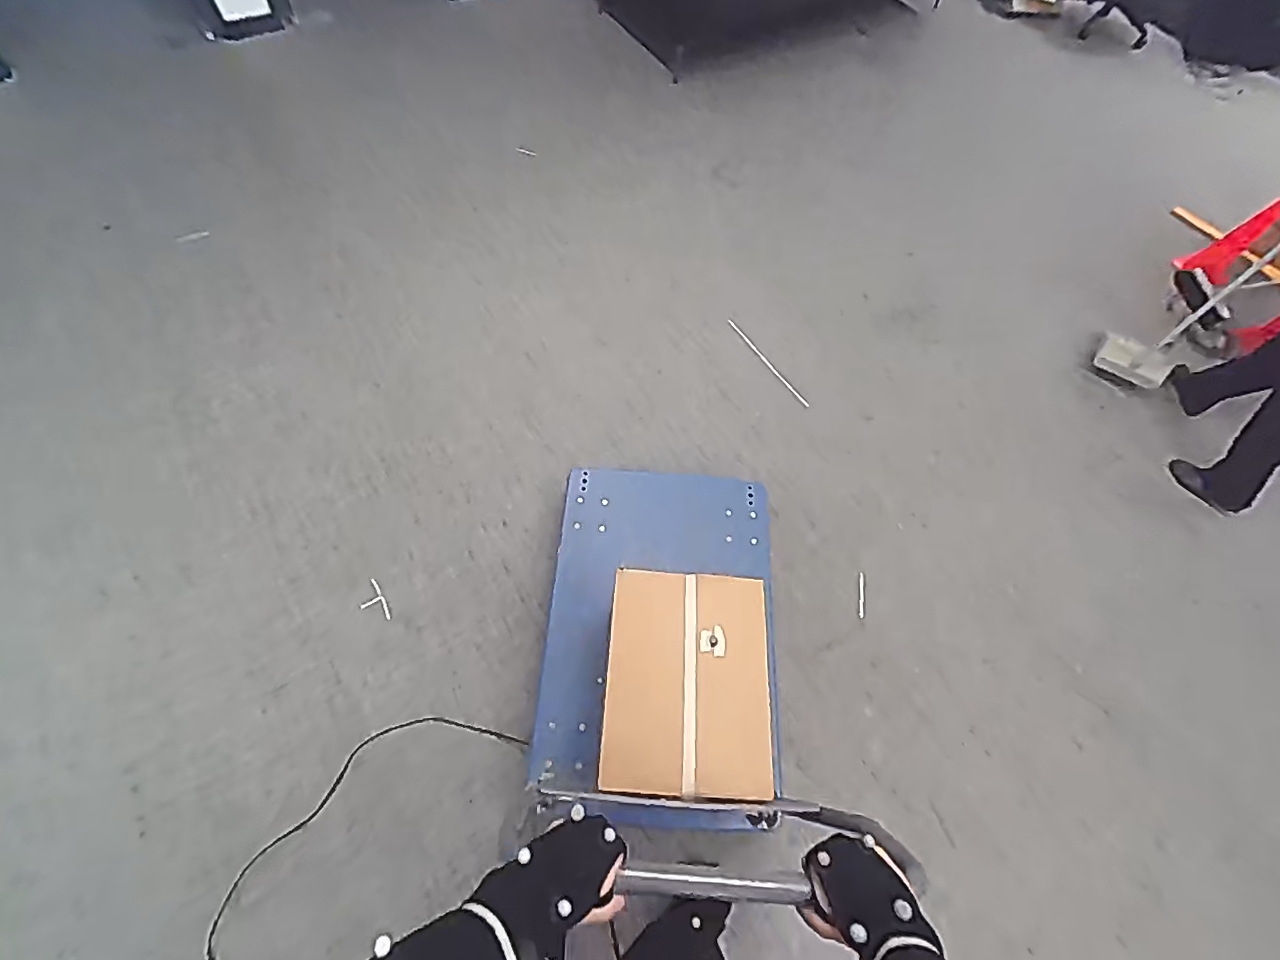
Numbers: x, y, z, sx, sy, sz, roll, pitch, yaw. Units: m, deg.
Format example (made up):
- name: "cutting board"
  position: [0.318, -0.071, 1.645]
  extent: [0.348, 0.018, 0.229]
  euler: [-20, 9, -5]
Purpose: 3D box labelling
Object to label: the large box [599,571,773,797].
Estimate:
- name: "large box"
  position: [0.080, 0.447, 1.169]
  extent: [0.320, 0.320, 0.408]
  euler: [5, 61, -3]
